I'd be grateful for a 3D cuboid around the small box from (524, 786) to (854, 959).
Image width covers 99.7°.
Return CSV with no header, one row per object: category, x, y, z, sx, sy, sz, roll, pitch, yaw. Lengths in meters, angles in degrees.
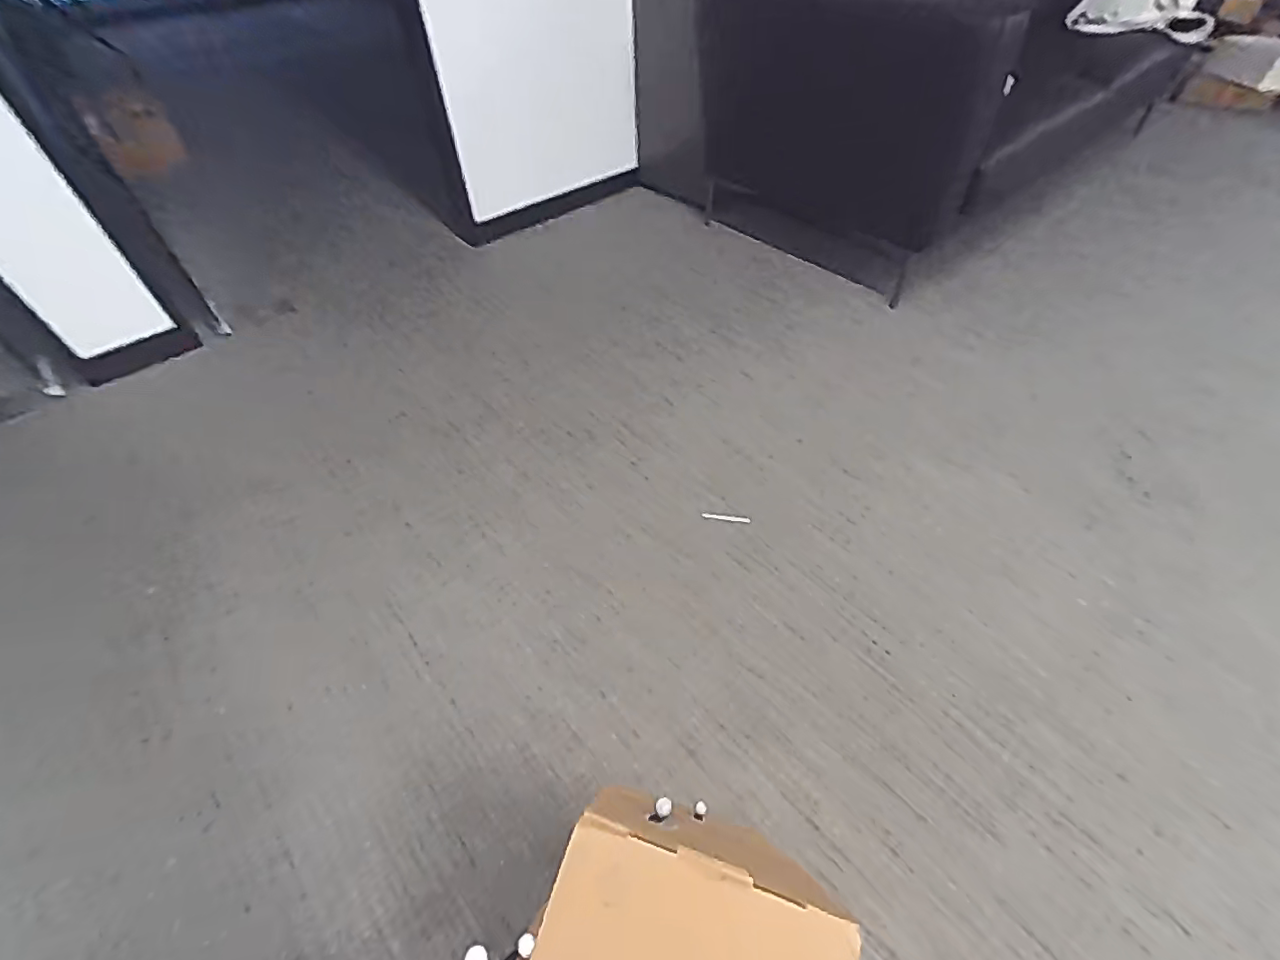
small box,0.016,0.319,0.345,0.168,0.176,0.179,16,67,11
